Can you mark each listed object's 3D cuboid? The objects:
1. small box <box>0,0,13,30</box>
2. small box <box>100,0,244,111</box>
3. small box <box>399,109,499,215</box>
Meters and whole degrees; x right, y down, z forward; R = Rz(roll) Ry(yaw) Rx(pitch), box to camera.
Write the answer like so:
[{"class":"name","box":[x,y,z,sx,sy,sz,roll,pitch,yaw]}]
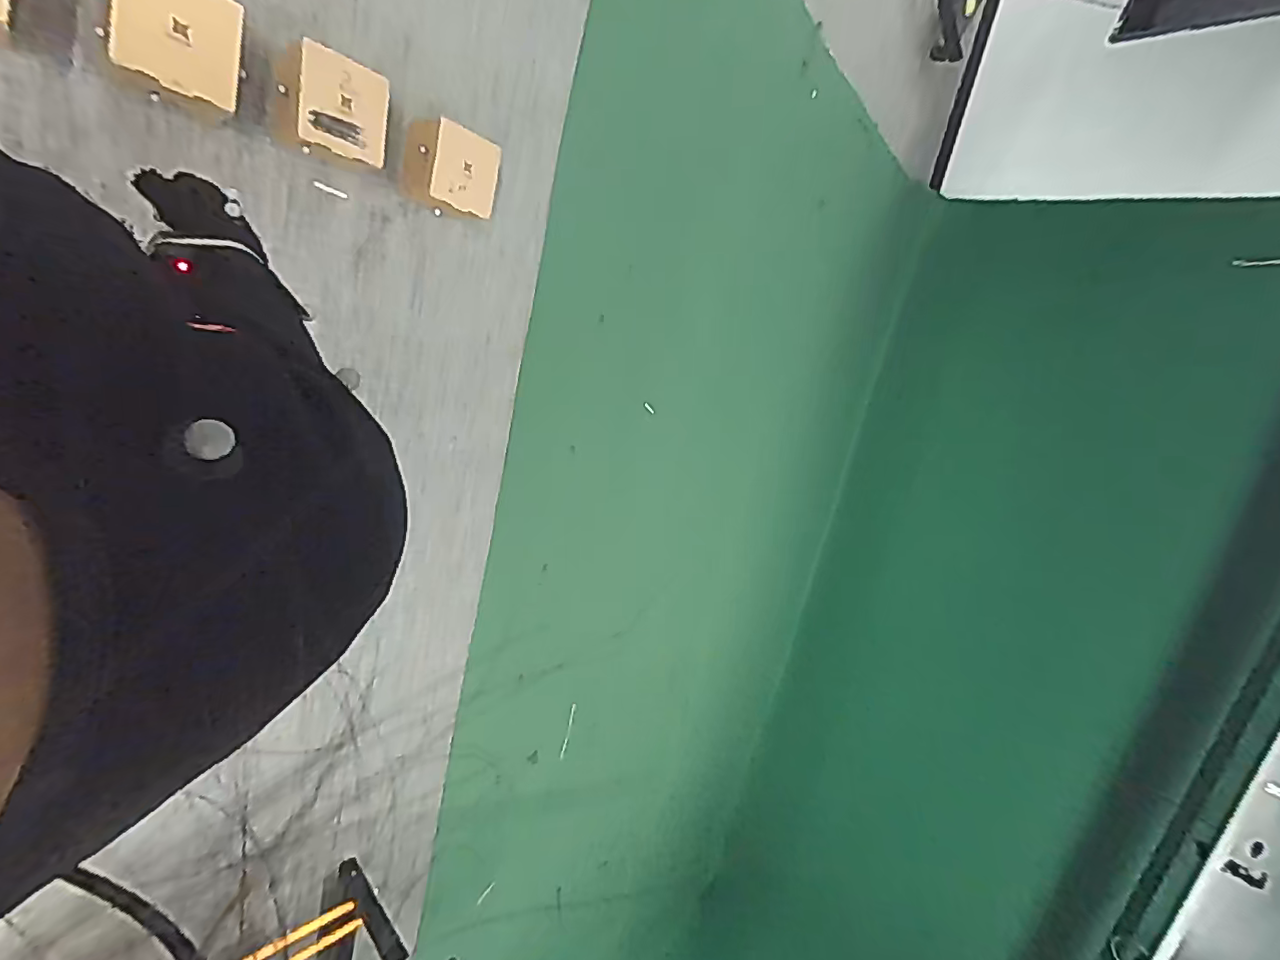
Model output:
[{"class":"small box","box":[-0.995,-0.781,0.751,0.168,0.176,0.179,7,102,-51]},{"class":"small box","box":[-0.825,-0.787,0.950,0.168,0.176,0.179,1,108,-49]},{"class":"small box","box":[-0.481,-0.787,1.353,0.168,0.176,0.179,1,108,-49]}]
